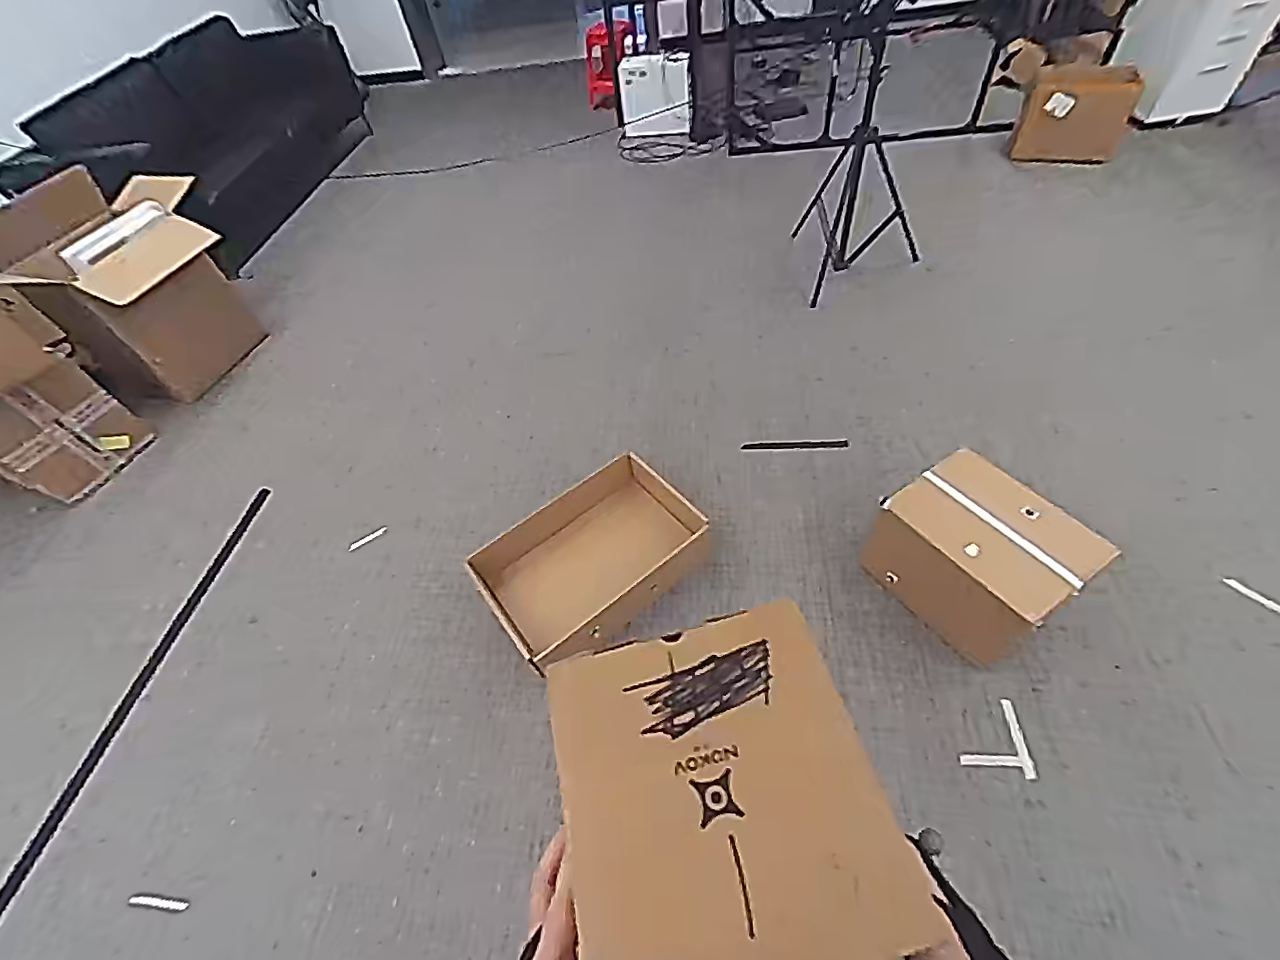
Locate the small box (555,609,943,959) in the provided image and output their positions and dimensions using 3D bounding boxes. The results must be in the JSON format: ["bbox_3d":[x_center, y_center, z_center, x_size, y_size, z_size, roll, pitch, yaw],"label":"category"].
[{"bbox_3d":[0.050,0.215,0.355,0.168,0.176,0.179,-15,52,-3],"label":"small box"}]
